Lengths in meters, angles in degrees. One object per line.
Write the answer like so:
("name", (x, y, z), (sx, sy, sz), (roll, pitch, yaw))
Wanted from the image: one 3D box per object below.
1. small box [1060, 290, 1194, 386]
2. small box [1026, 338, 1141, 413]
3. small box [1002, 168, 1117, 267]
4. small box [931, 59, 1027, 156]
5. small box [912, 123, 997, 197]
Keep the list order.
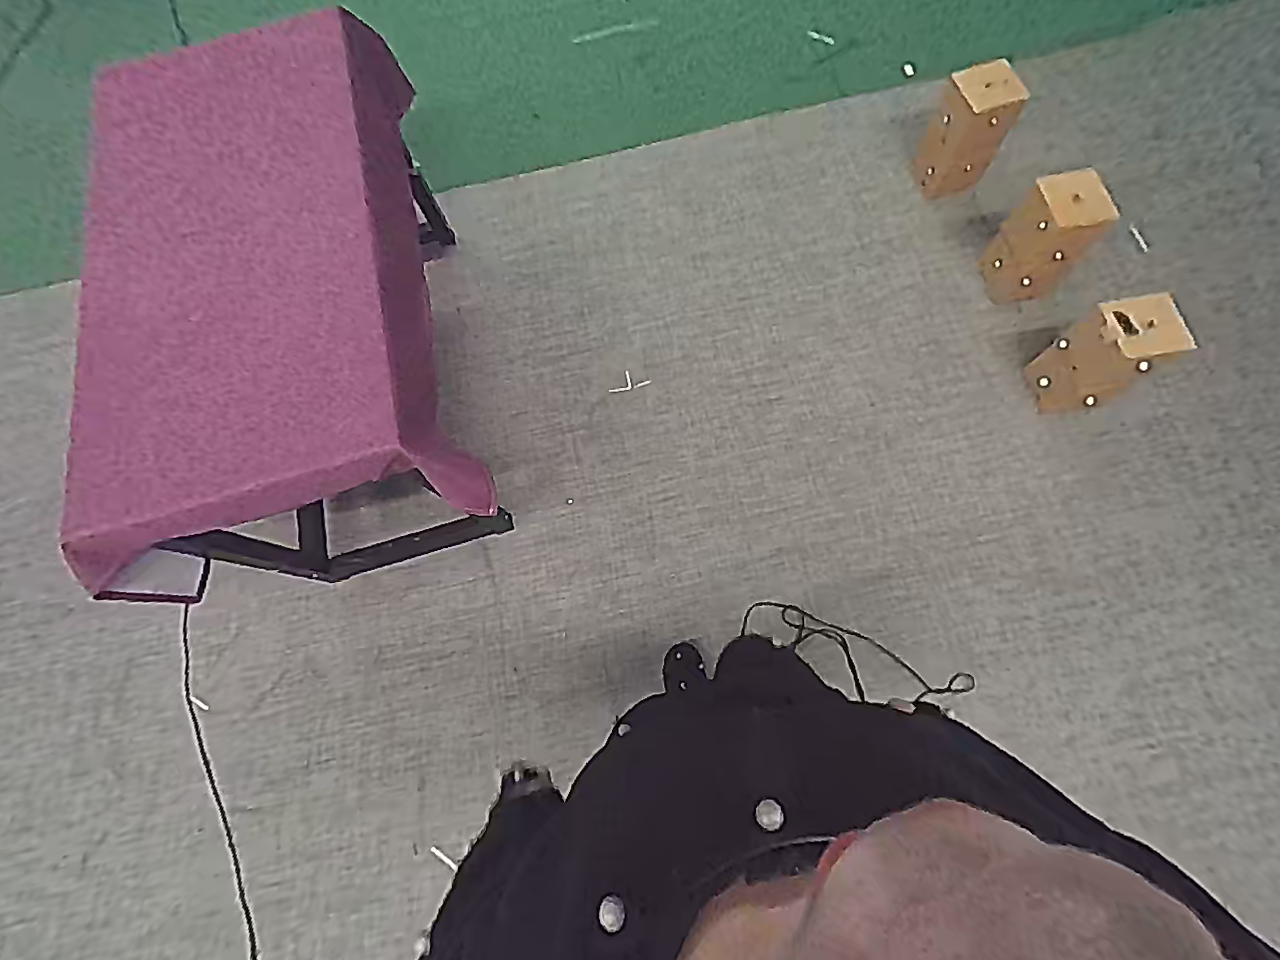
("small box", (1.240, -0.359, 1.400), (0.179, 0.176, 0.168), (-9, 72, 1))
("small box", (1.258, -0.308, 1.556), (0.179, 0.176, 0.168), (-11, 72, 2))
("small box", (1.173, -0.737, 1.530), (0.168, 0.176, 0.179), (-9, 71, 1))
("small box", (1.033, -1.144, 1.673), (0.179, 0.176, 0.168), (-15, 73, -1))
("small box", (1.050, -1.093, 1.829), (0.179, 0.176, 0.168), (-14, 72, -1))
